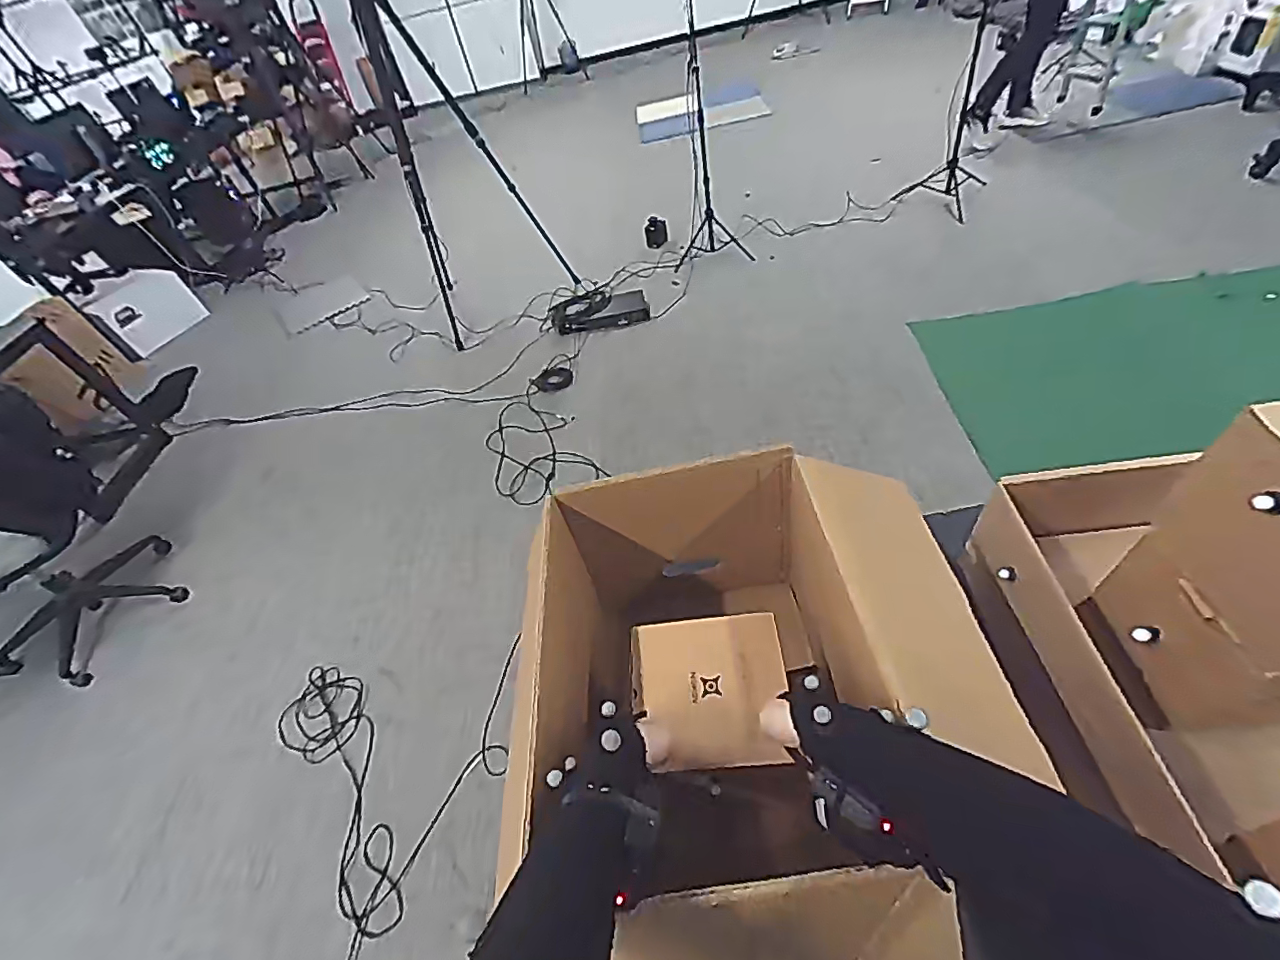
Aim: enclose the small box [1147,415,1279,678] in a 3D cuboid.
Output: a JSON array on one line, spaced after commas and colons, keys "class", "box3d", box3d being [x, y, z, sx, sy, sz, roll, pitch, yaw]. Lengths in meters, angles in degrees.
[{"class": "small box", "box3d": [0.618, 0.056, 0.476, 0.168, 0.176, 0.179, -6, 50, 8]}]
